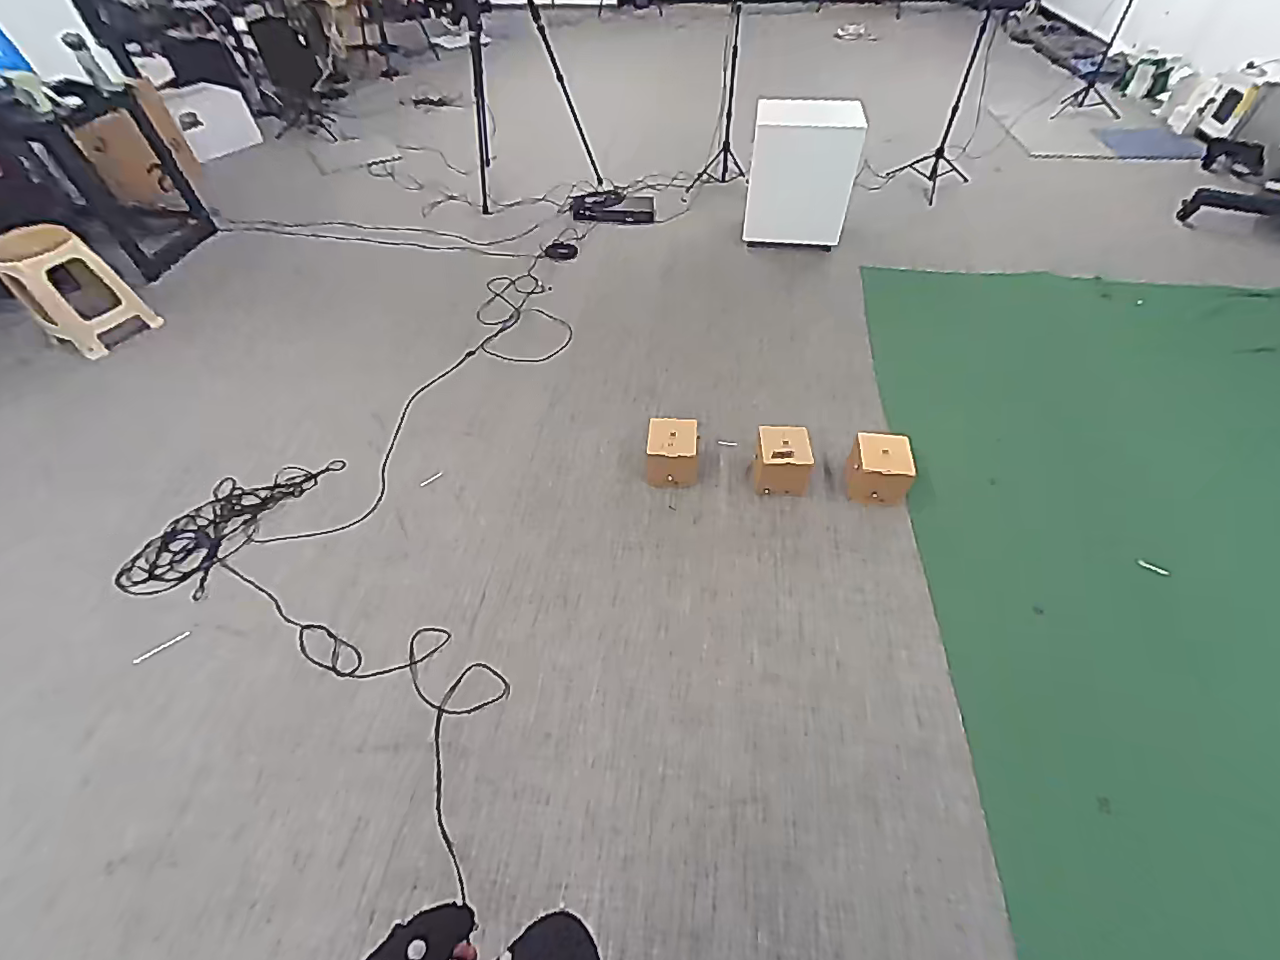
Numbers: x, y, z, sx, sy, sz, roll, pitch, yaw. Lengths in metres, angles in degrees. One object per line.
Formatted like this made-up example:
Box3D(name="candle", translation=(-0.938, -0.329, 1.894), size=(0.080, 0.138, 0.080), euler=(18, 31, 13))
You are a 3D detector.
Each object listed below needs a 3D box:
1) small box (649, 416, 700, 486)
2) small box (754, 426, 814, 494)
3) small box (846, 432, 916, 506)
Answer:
Box3D(name="small box", translation=(0.120, -0.102, 1.904), size=(0.168, 0.176, 0.179), euler=(3, 51, 5))
Box3D(name="small box", translation=(0.492, -0.067, 1.871), size=(0.168, 0.176, 0.179), euler=(2, 49, 3))
Box3D(name="small box", translation=(0.813, -0.037, 1.841), size=(0.168, 0.176, 0.179), euler=(6, 51, 7))
